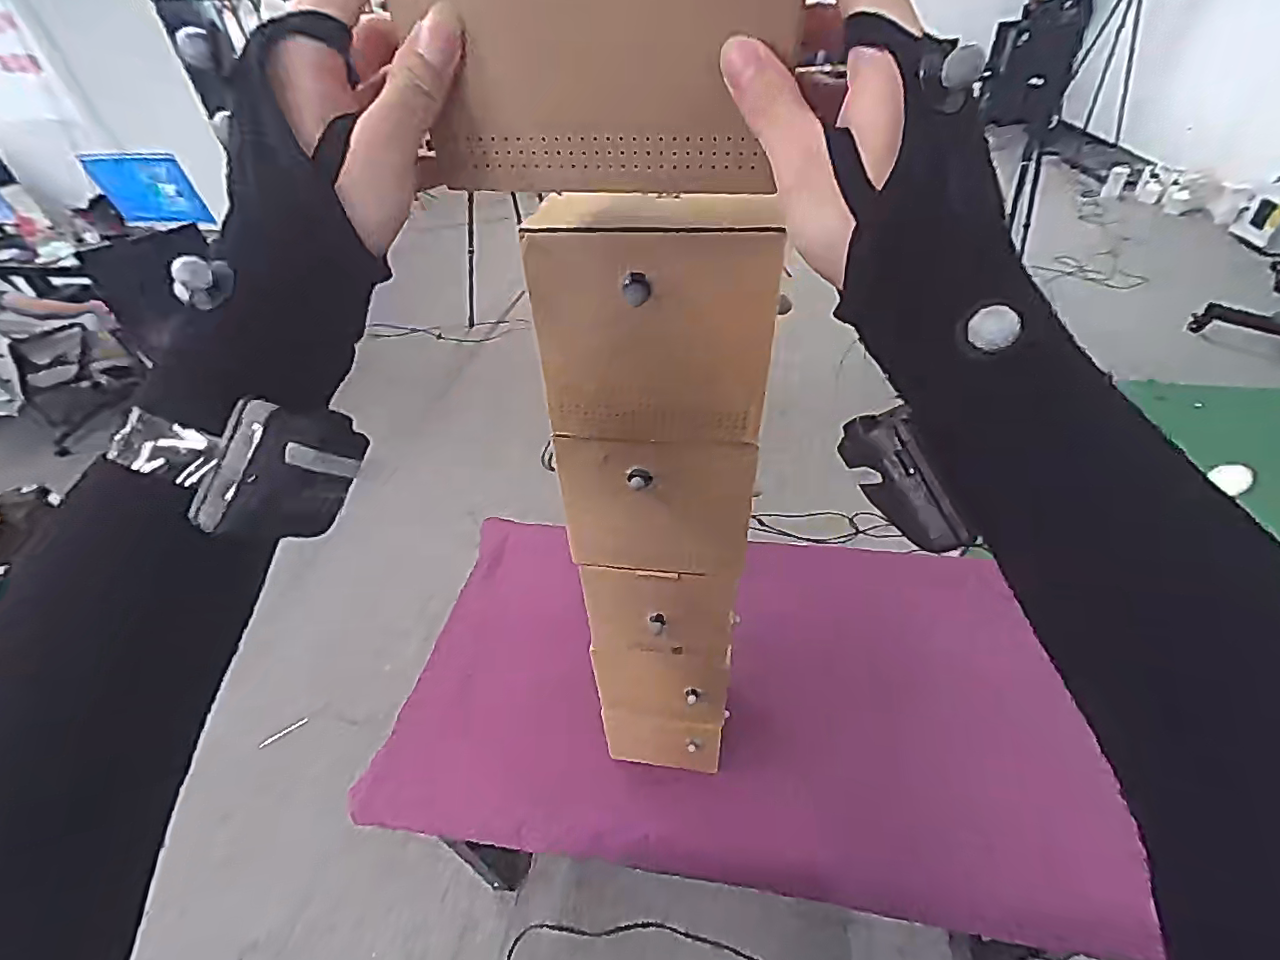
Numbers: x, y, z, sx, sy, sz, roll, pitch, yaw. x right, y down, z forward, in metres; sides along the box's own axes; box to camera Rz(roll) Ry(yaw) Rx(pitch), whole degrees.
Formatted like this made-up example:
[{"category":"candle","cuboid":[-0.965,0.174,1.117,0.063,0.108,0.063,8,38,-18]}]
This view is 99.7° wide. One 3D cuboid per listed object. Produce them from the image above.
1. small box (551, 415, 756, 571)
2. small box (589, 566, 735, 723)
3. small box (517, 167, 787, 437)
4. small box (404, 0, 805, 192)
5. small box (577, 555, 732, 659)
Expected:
[{"category":"small box","cuboid":[0.024,-0.023,0.558,0.179,0.176,0.168,3,41,7]},{"category":"small box","cuboid":[0.039,0.225,0.771,0.179,0.176,0.168,4,41,9]},{"category":"small box","cuboid":[0.020,-0.148,0.454,0.179,0.176,0.168,3,41,8]},{"category":"small box","cuboid":[-0.007,-0.264,0.266,0.179,0.176,0.168,4,55,7]},{"category":"small box","cuboid":[0.031,0.099,0.669,0.168,0.176,0.179,4,42,8]}]
